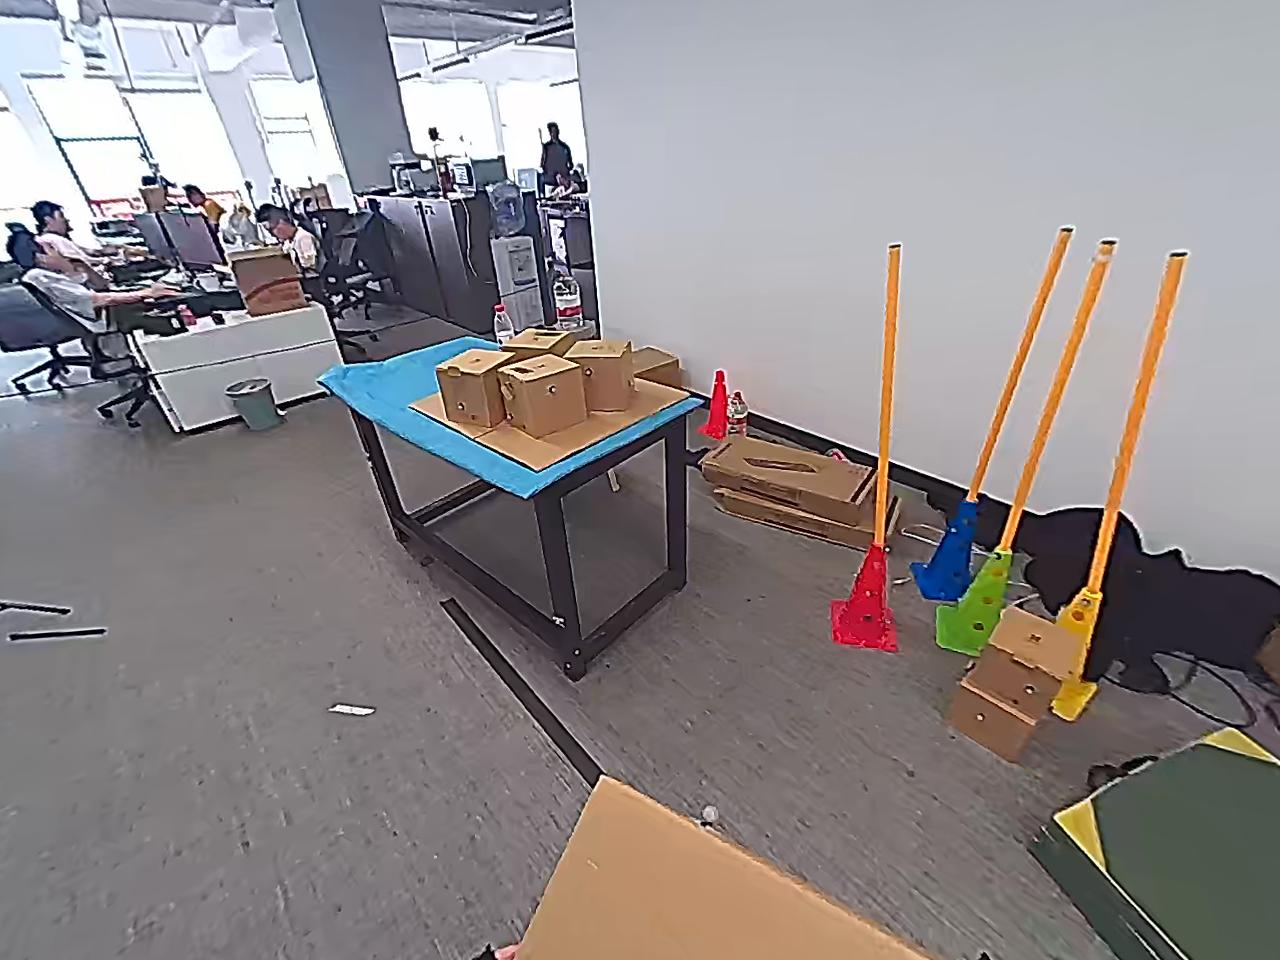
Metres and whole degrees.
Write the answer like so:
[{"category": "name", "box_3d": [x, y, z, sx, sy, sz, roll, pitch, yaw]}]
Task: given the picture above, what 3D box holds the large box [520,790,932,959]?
[{"category": "large box", "box_3d": [0.113, 0.472, 0.354, 0.408, 0.320, 0.320, 14, 60, 28]}]
